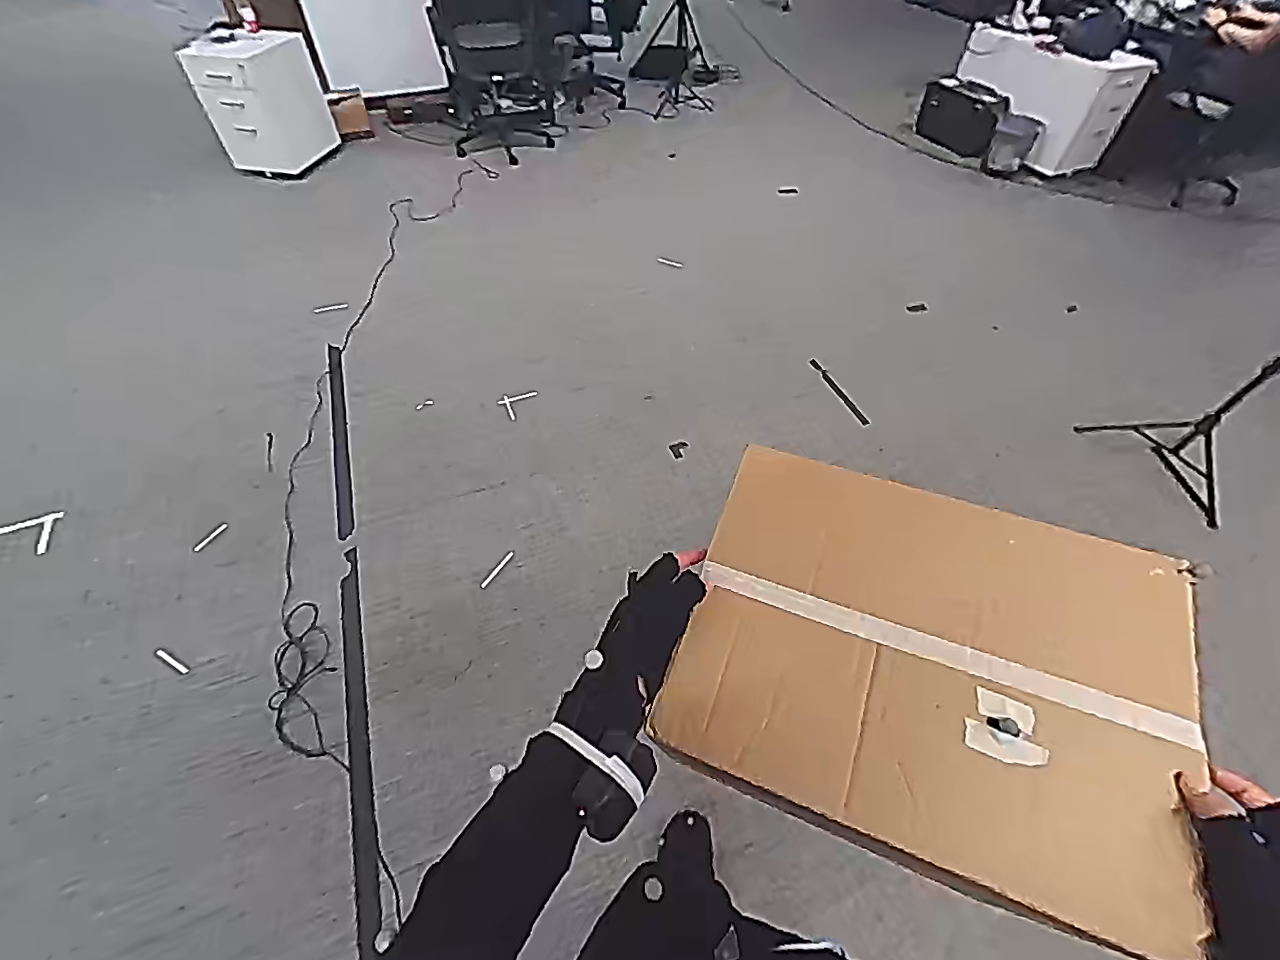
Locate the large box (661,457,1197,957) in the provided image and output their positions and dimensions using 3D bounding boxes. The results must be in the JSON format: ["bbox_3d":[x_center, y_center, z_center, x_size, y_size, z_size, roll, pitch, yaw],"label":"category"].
[{"bbox_3d":[0.265,0.225,0.613,0.408,0.320,0.320,17,64,15],"label":"large box"}]
